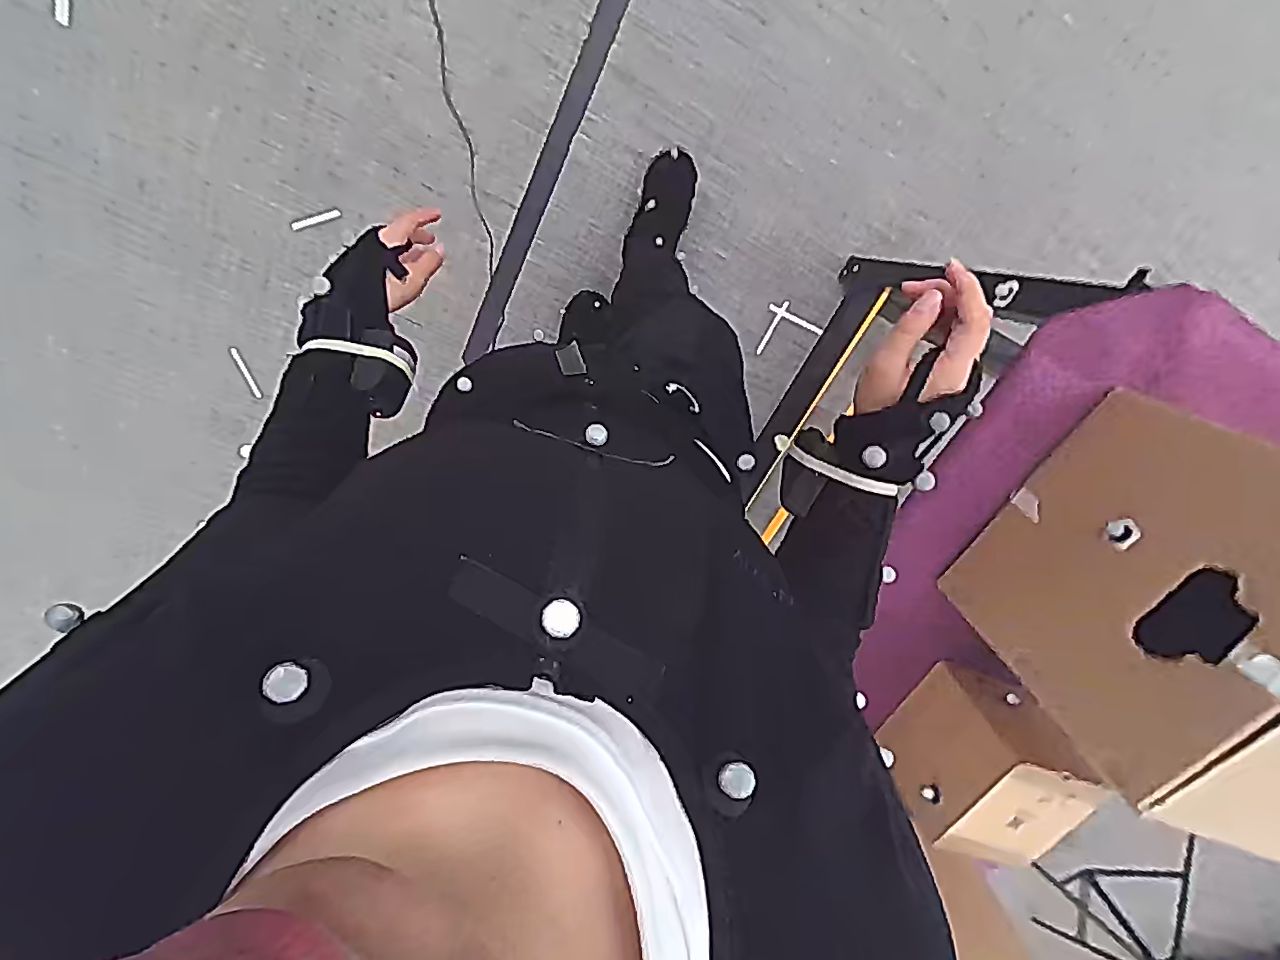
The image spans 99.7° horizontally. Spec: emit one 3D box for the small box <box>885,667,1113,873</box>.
[{"bbox_3d":[0.478,0.401,0.758,0.168,0.176,0.179,22,113,-15],"label":"small box"}]

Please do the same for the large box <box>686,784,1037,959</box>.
[{"bbox_3d":[0.333,0.735,0.831,0.408,0.320,0.320,22,112,-15],"label":"large box"}]
